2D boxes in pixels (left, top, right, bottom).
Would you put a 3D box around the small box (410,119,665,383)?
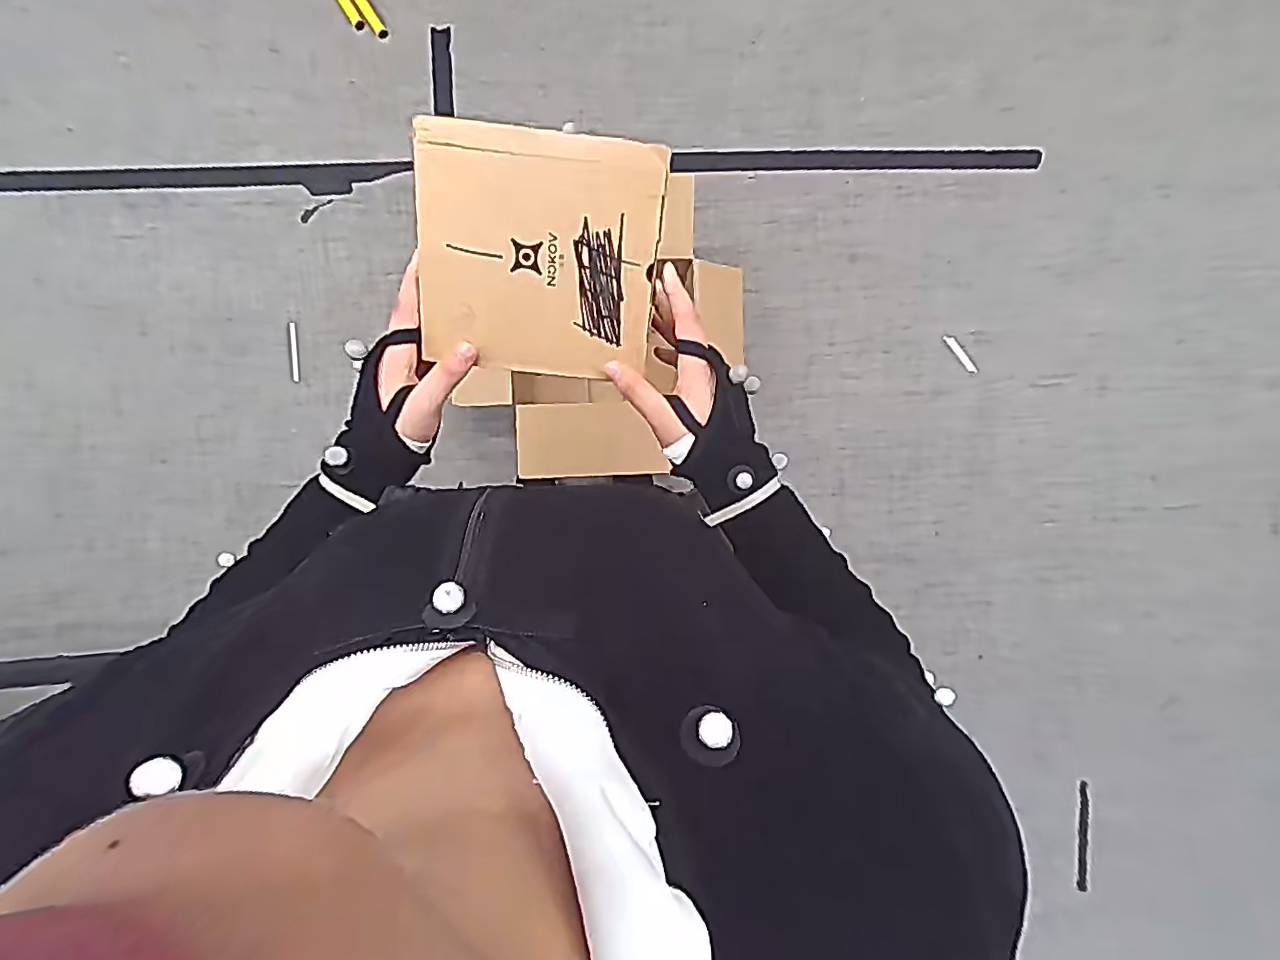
[{"bbox_3d":[-0.078,-0.190,0.470,0.179,0.176,0.168,6,111,-2],"label":"small box"}]
